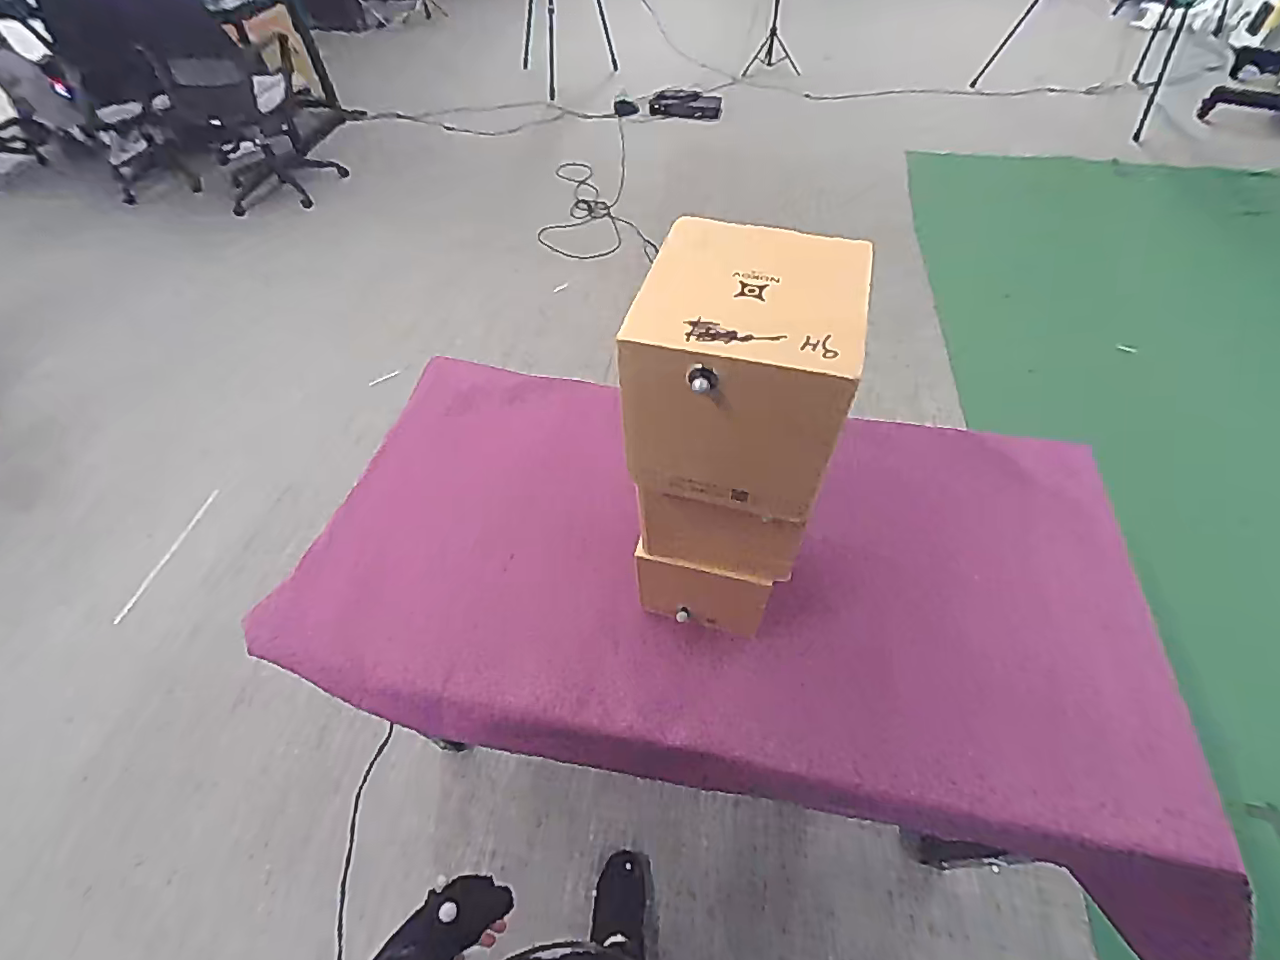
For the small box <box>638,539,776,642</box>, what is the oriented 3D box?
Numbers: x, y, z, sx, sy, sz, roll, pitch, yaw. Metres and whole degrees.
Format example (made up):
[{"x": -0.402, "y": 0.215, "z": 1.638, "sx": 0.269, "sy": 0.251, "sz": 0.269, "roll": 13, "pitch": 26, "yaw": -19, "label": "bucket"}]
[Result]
[{"x": 0.100, "y": 0.093, "z": 0.737, "sx": 0.168, "sy": 0.176, "sz": 0.179, "roll": 11, "pitch": 54, "yaw": 12, "label": "small box"}]

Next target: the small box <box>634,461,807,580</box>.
[{"x": 0.101, "y": -0.006, "z": 0.609, "sx": 0.179, "sy": 0.176, "sz": 0.168, "roll": 10, "pitch": 53, "yaw": 10, "label": "small box"}]

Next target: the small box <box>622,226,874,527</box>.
[{"x": 0.090, "y": -0.089, "z": 0.466, "sx": 0.168, "sy": 0.176, "sz": 0.179, "roll": 12, "pitch": 53, "yaw": 12, "label": "small box"}]
